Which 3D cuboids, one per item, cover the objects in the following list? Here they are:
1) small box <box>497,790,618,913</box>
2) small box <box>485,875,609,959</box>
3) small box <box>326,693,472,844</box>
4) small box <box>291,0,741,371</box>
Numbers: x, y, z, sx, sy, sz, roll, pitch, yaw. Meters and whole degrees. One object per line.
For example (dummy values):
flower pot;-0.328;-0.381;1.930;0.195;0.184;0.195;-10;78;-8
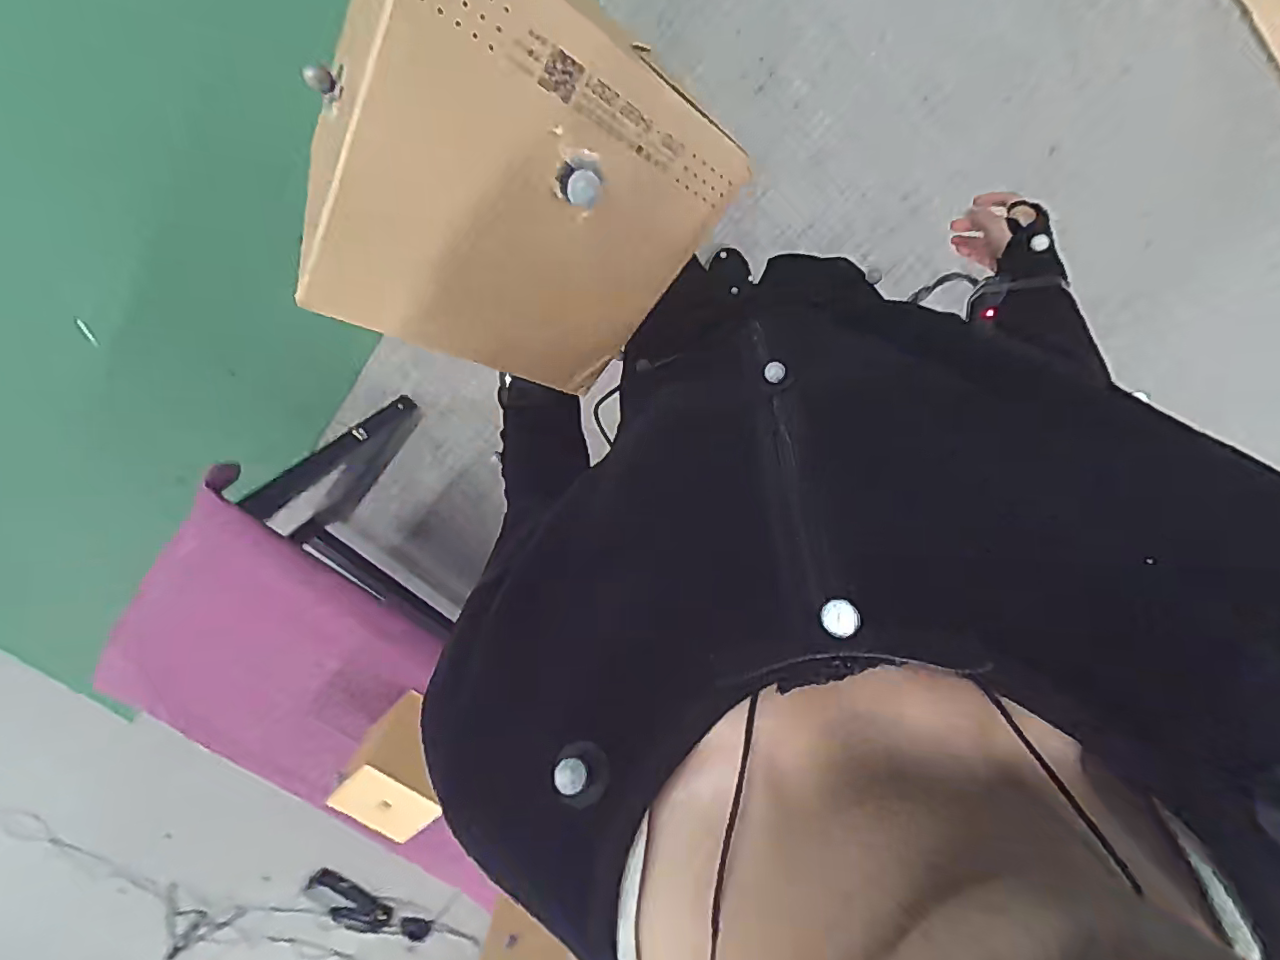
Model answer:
small box;-0.161;0.791;1.124;0.168;0.176;0.179;39;114;-13
small box;-0.171;0.857;0.974;0.168;0.176;0.179;41;113;-14
small box;-0.447;0.543;1.032;0.168;0.176;0.179;39;116;-13
small box;-0.074;-0.197;0.298;0.168;0.179;0.176;12;133;-39
